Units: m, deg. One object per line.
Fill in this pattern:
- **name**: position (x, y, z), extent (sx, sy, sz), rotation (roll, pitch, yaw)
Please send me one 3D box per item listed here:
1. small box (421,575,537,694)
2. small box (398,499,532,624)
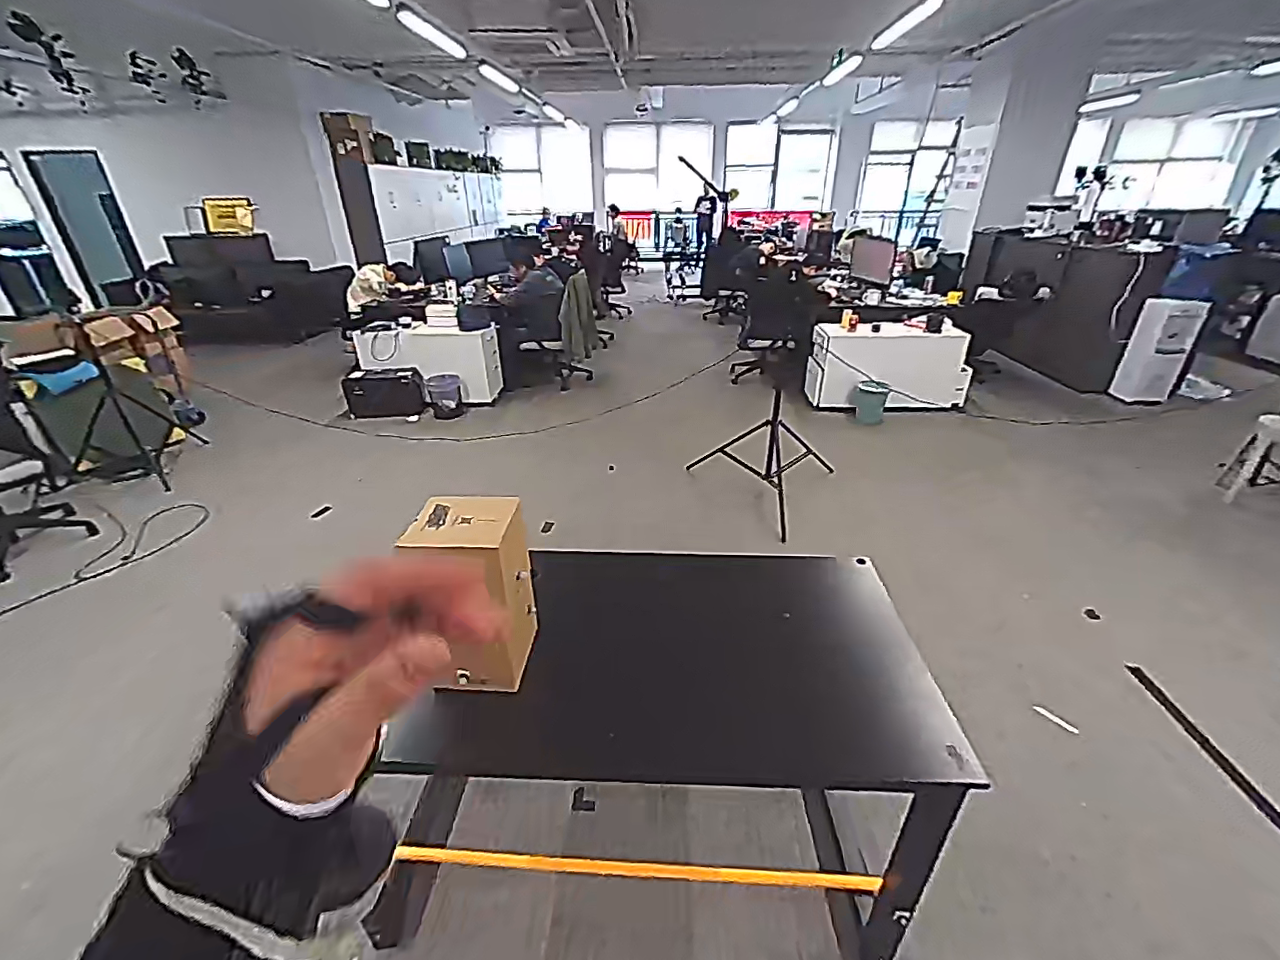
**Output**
- **small box**: position (-0.304, 0.291, 1.065), extent (0.168, 0.176, 0.179), rotation (0, 29, 3)
- **small box**: position (-0.307, 0.147, 0.986), extent (0.179, 0.176, 0.168), rotation (0, 28, 2)
